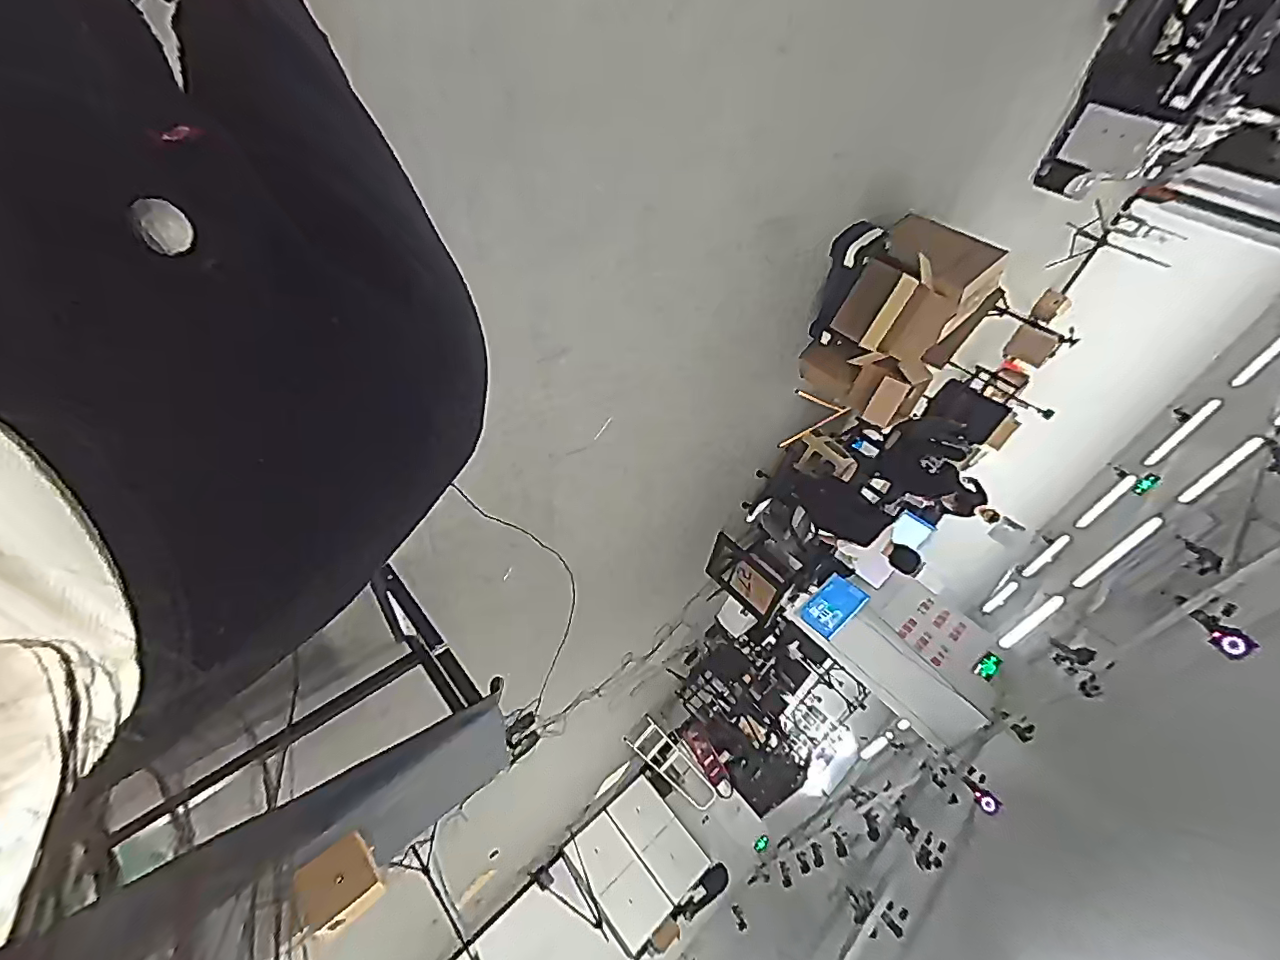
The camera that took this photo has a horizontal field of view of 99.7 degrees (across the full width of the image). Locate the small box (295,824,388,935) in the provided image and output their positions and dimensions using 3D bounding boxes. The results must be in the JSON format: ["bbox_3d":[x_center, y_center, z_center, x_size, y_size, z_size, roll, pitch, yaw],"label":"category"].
[{"bbox_3d":[-0.855,1.136,1.542,0.179,0.176,0.168,-30,148,-35],"label":"small box"}]
